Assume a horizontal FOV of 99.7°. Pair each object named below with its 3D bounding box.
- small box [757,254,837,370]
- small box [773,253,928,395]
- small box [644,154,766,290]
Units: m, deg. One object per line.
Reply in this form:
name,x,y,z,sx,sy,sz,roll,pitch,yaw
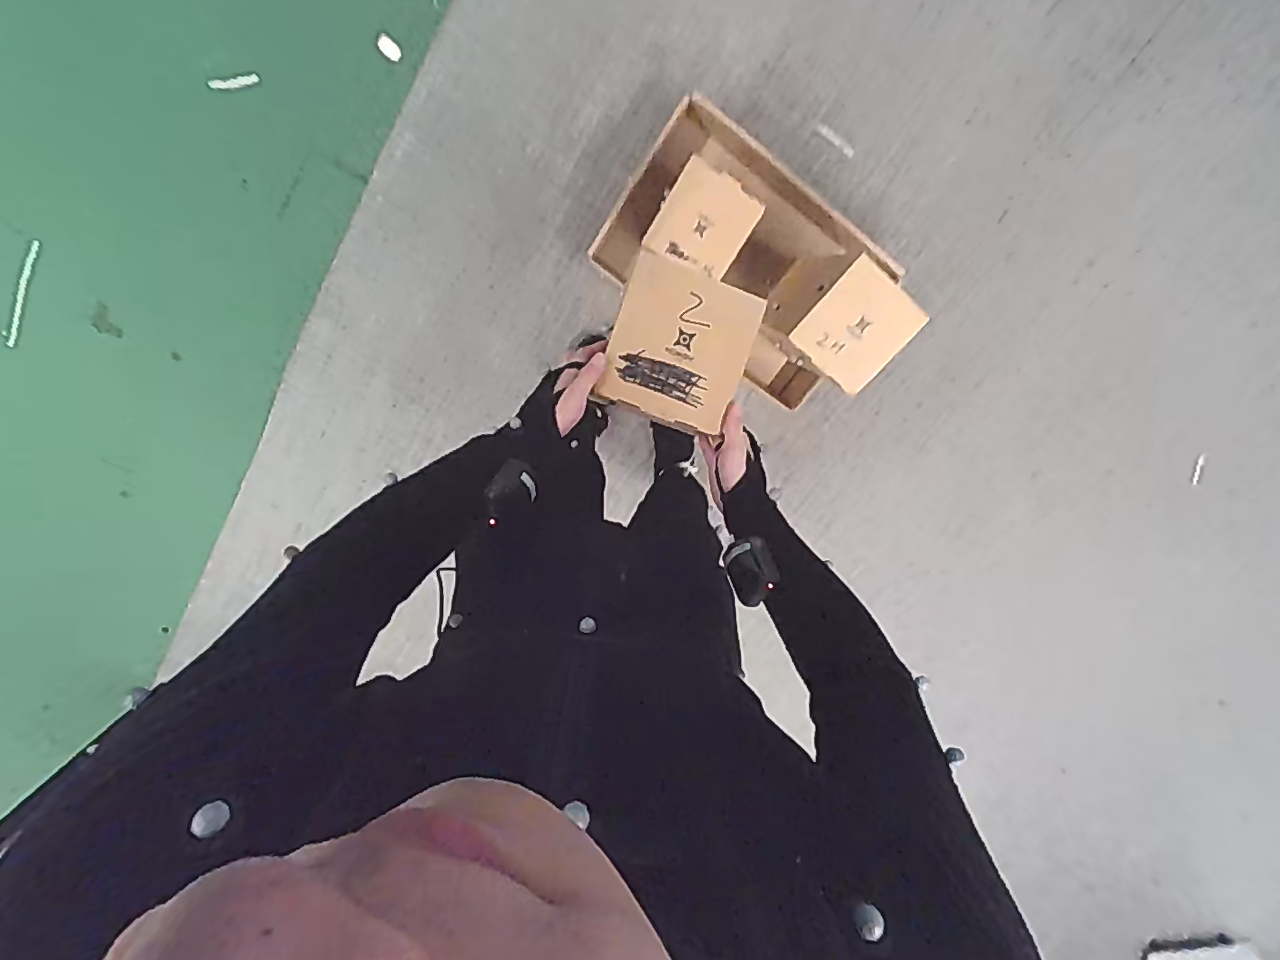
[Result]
small box,0.370,-0.350,1.136,0.168,0.176,0.179,37,108,-14
small box,0.368,-0.287,0.982,0.168,0.176,0.179,38,108,-13
small box,0.119,-0.501,1.075,0.168,0.176,0.179,31,107,-10
